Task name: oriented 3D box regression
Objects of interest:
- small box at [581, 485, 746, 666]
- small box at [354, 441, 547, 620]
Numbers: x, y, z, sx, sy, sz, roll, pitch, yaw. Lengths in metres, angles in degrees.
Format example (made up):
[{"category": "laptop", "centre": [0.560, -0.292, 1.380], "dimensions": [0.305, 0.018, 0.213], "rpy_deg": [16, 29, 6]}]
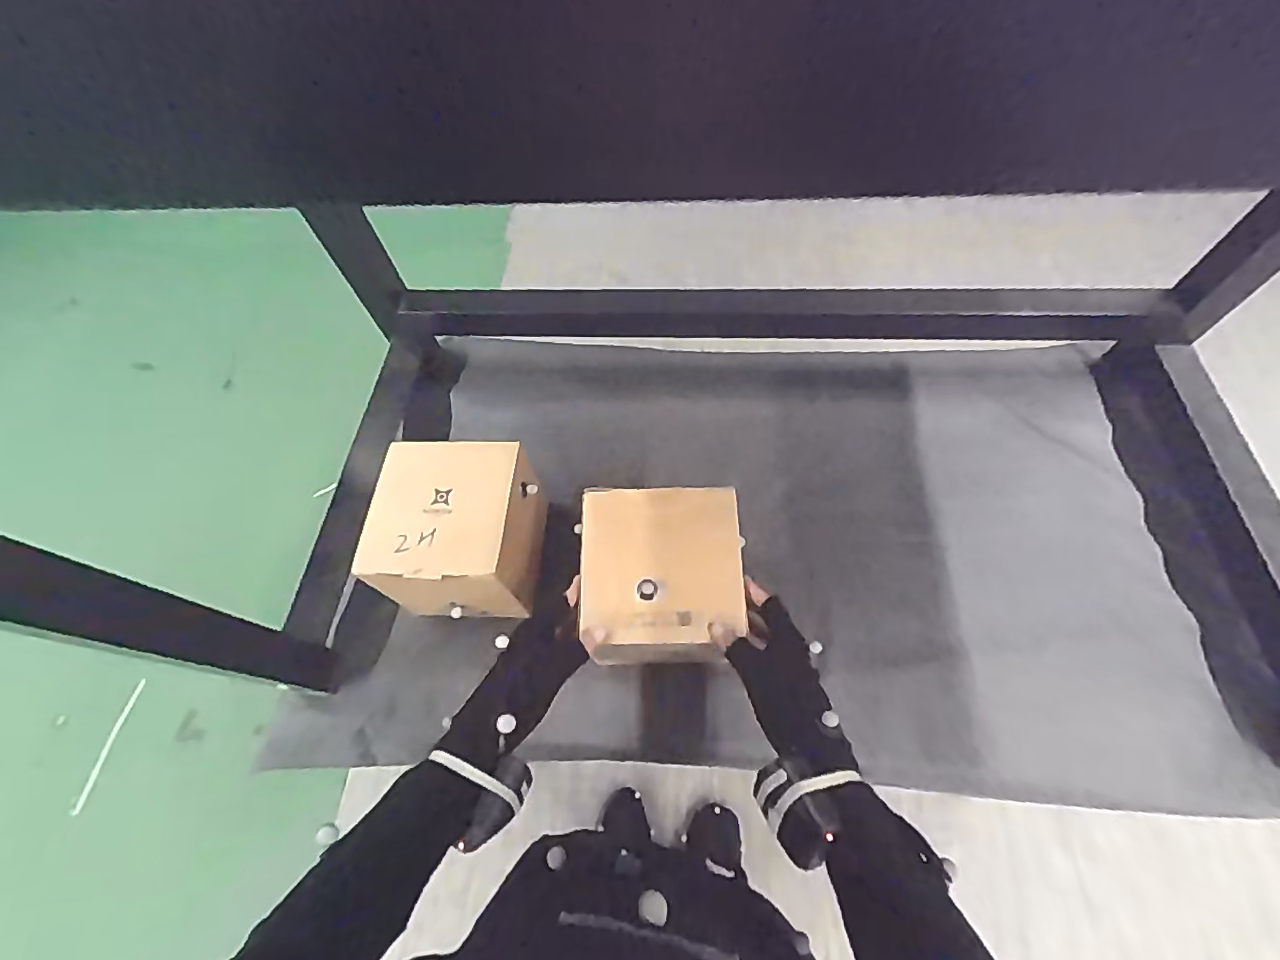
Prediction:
[{"category": "small box", "centre": [0.026, 0.119, 0.624], "dimensions": [0.168, 0.179, 0.176], "rpy_deg": [-3, 65, 3]}, {"category": "small box", "centre": [-0.223, 0.068, 0.695], "dimensions": [0.168, 0.176, 0.179], "rpy_deg": [0, 60, 6]}]
